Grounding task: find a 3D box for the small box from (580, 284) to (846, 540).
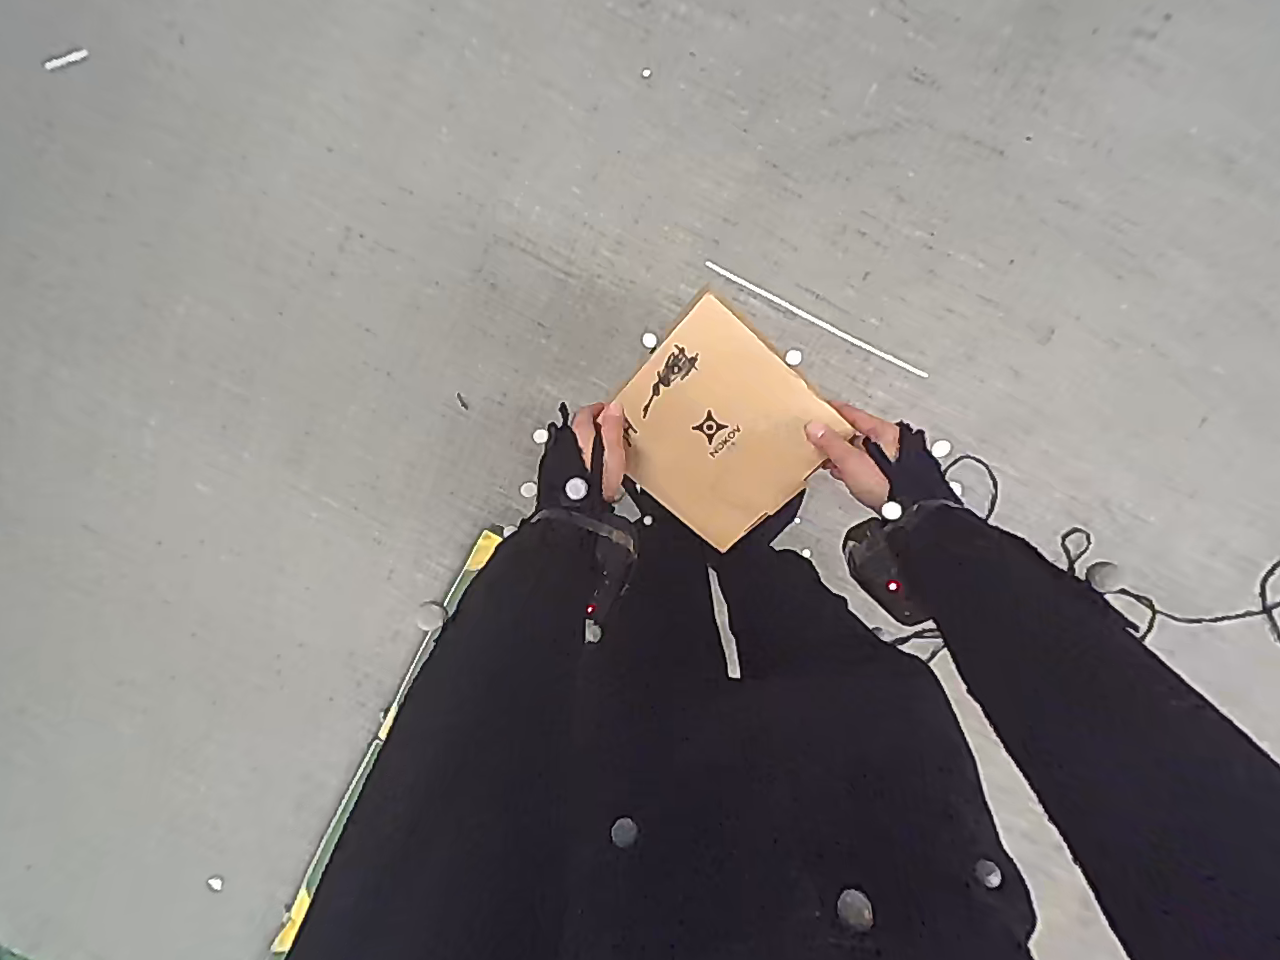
[{"bbox_3d":[0.070,-0.079,0.546,0.179,0.176,0.168,40,111,-11],"label":"small box"}]
